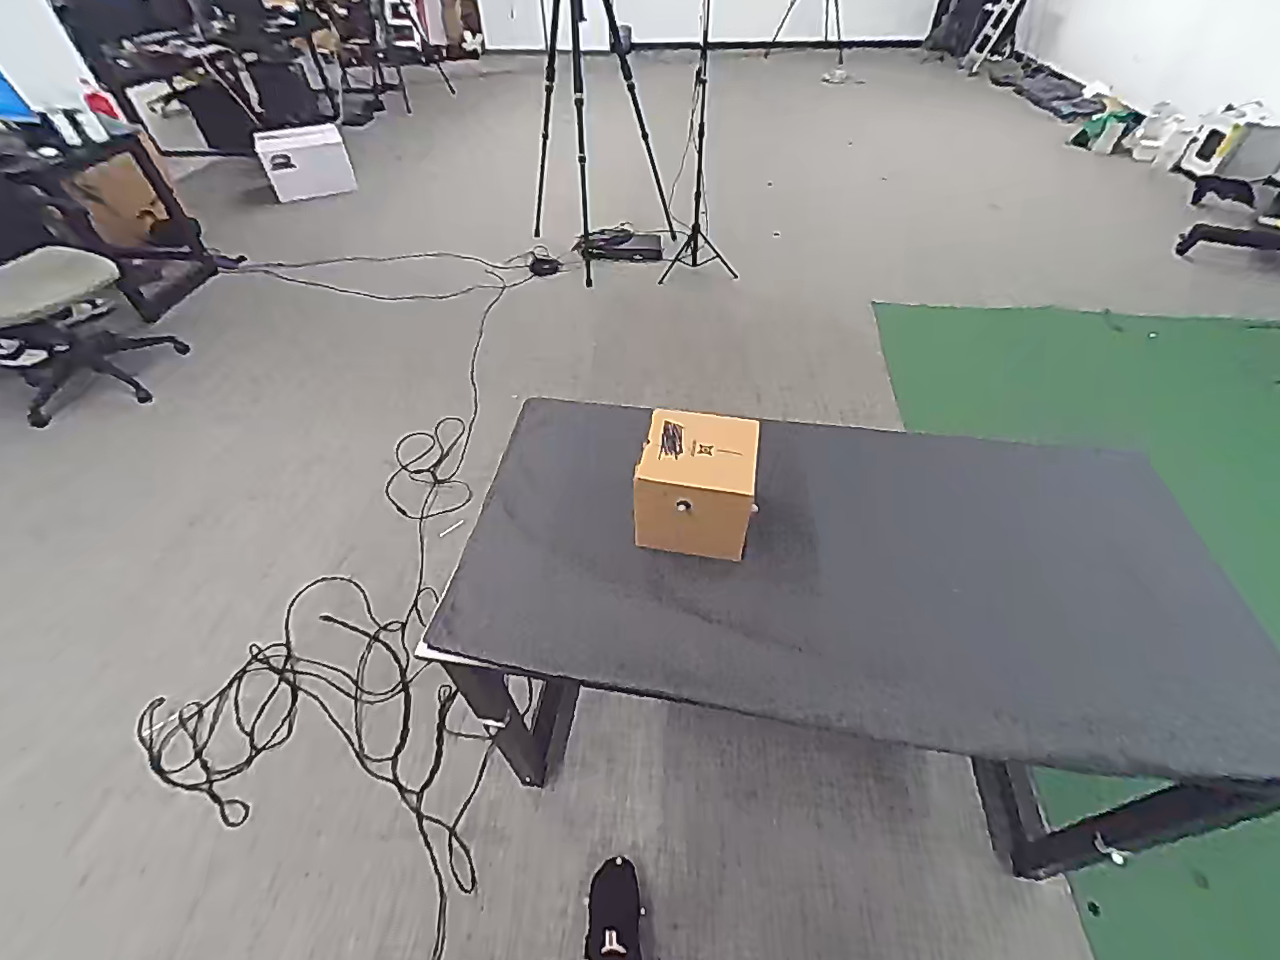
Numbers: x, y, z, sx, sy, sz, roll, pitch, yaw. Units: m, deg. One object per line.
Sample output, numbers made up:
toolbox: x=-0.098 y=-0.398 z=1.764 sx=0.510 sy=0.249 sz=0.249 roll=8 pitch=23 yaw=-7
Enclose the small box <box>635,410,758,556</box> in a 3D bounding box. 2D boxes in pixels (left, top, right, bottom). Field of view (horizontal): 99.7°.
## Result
small box: x=0.092 y=0.007 z=0.900 sx=0.179 sy=0.176 sz=0.168 roll=9 pitch=47 yaw=7
